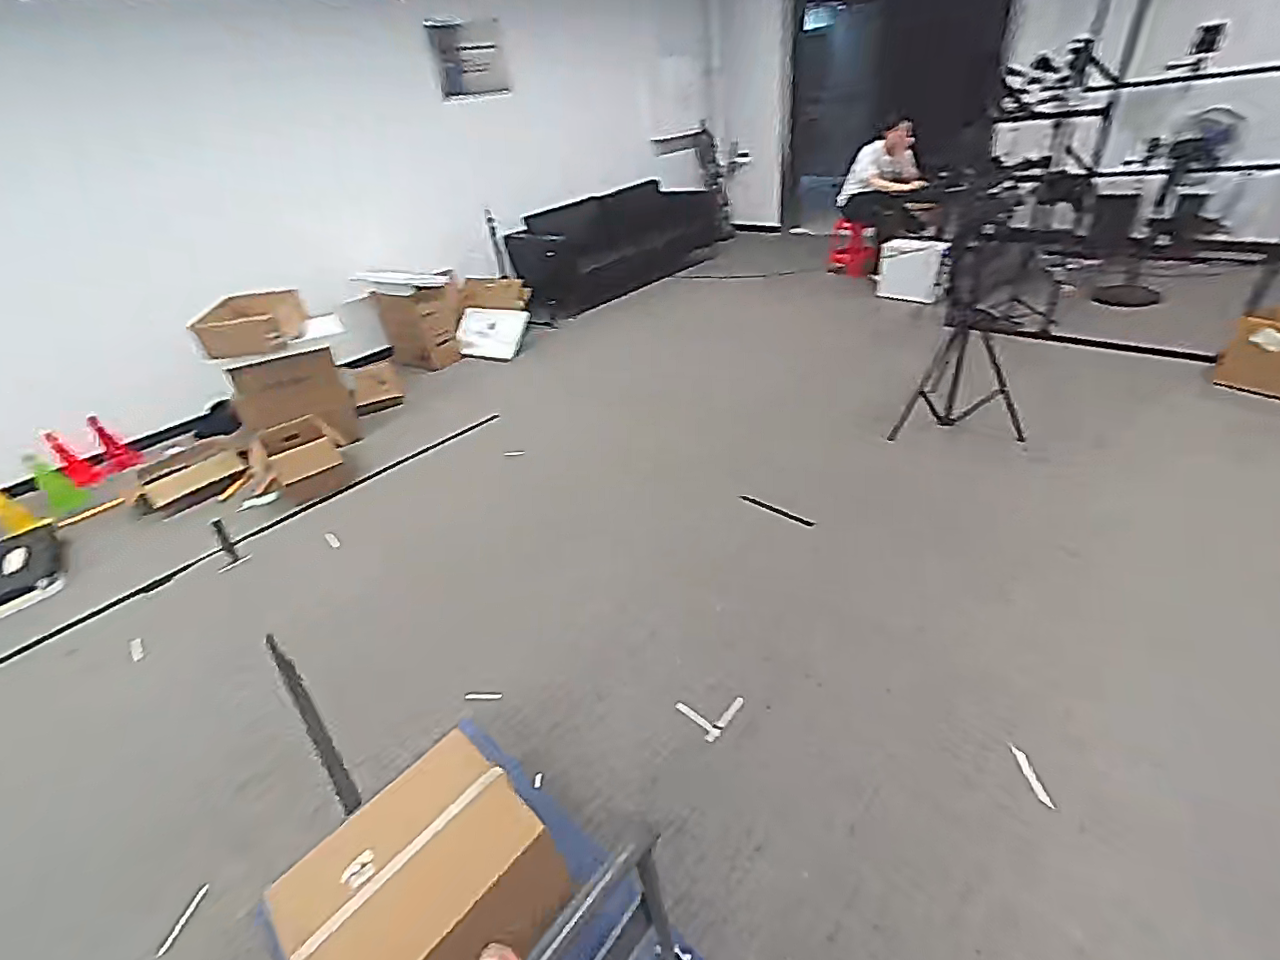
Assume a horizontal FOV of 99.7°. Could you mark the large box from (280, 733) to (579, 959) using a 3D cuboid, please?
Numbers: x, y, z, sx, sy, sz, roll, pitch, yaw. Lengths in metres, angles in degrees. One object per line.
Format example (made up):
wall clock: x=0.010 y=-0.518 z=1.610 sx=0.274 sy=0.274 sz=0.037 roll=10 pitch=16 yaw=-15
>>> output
large box: x=-0.387 y=0.818 z=1.073 sx=0.320 sy=0.320 sz=0.408 roll=22 pitch=46 yaw=39
